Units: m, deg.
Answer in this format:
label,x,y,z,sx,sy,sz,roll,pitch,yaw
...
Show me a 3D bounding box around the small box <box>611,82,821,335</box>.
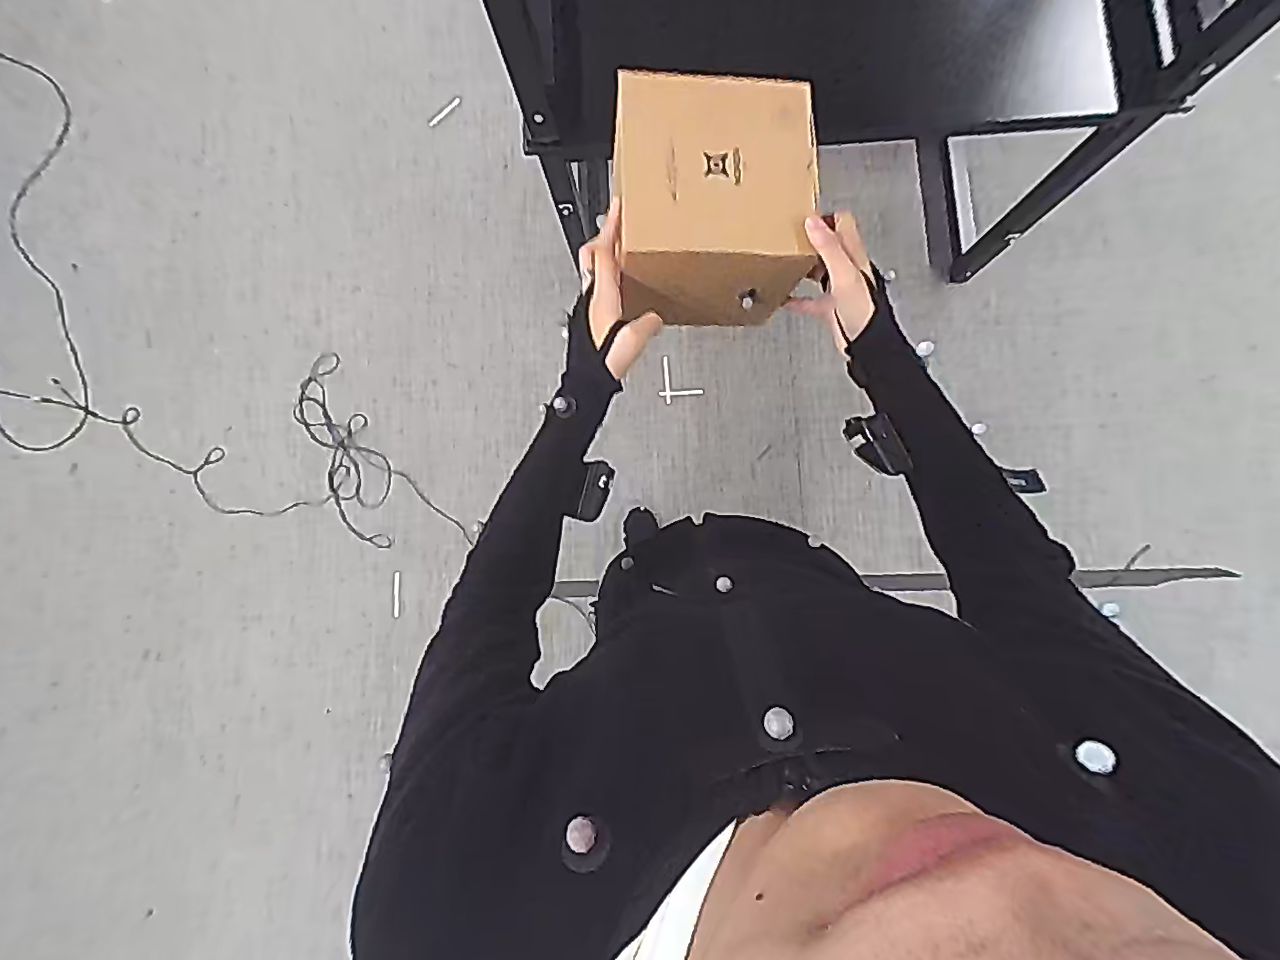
label,x,y,z,sx,sy,sz,roll,pitch,yaw
small box,0.063,-0.259,0.554,0.179,0.176,0.168,-1,82,-6
